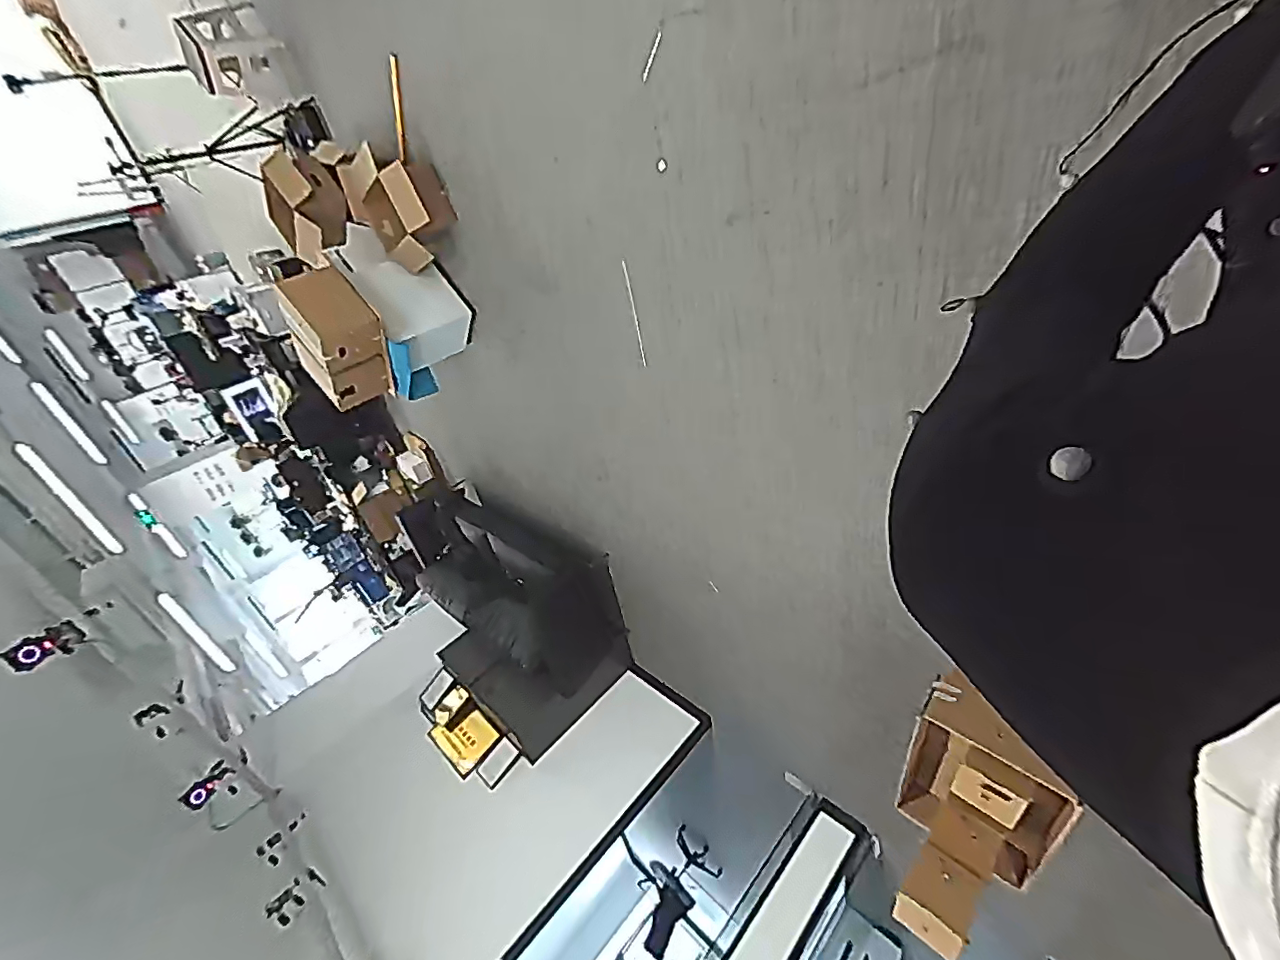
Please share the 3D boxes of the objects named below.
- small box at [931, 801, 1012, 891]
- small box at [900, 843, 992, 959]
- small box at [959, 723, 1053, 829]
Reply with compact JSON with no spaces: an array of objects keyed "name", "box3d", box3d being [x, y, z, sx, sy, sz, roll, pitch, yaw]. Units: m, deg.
[{"name":"small box","box3d":[0.967,1.102,1.596,0.168,0.176,0.179,25,135,40]},{"name":"small box","box3d":[0.849,1.168,1.500,0.168,0.176,0.179,22,134,41]},{"name":"small box","box3d":[1.044,0.837,1.542,0.168,0.176,0.179,25,140,39]}]
